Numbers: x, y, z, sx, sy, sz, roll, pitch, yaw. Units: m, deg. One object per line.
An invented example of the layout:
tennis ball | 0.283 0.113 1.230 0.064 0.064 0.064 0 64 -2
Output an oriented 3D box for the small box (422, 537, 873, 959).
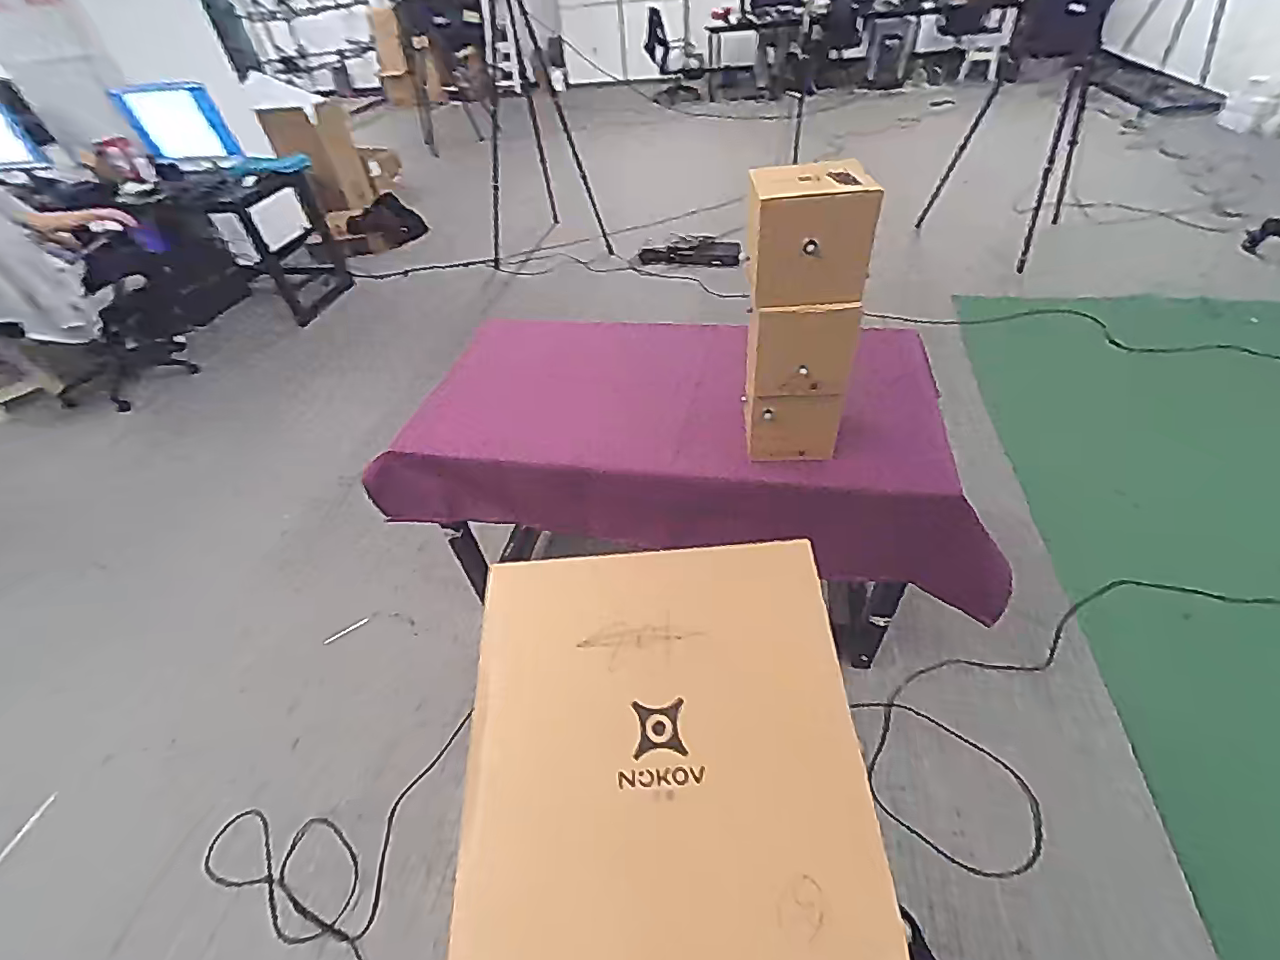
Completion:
small box | 0.005 0.149 0.300 0.168 0.176 0.179 -4 57 2

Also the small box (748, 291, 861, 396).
small box | 0.286 -0.270 0.980 0.168 0.176 0.179 0 44 8

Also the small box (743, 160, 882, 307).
small box | 0.265 -0.396 0.876 0.179 0.176 0.168 -2 43 6
